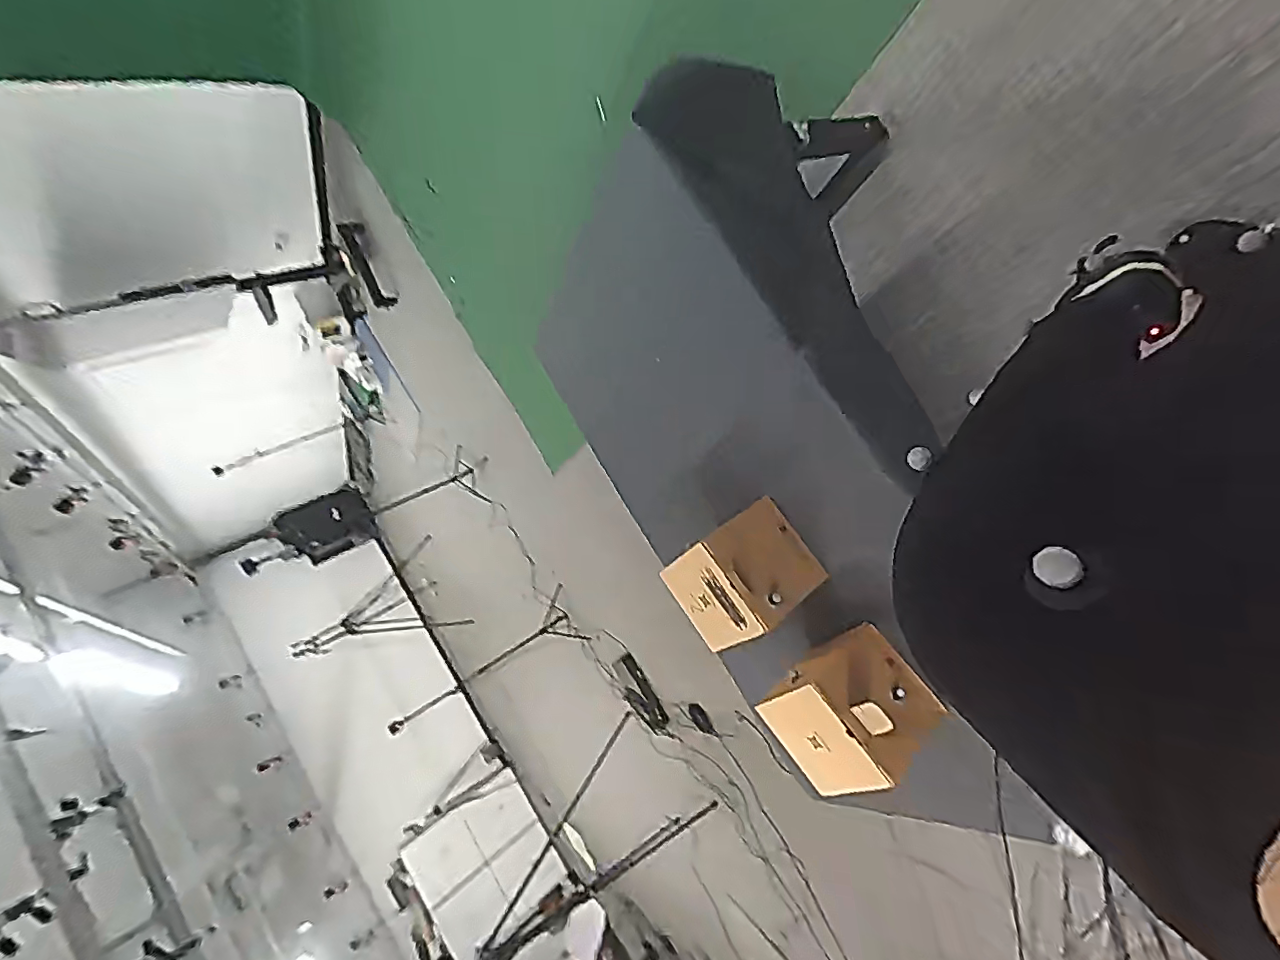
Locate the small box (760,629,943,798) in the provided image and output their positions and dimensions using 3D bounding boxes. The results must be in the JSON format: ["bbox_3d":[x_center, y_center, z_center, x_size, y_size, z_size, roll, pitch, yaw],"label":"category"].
[{"bbox_3d":[0.331,0.366,0.853,0.168,0.176,0.179,51,145,17],"label":"small box"}]
